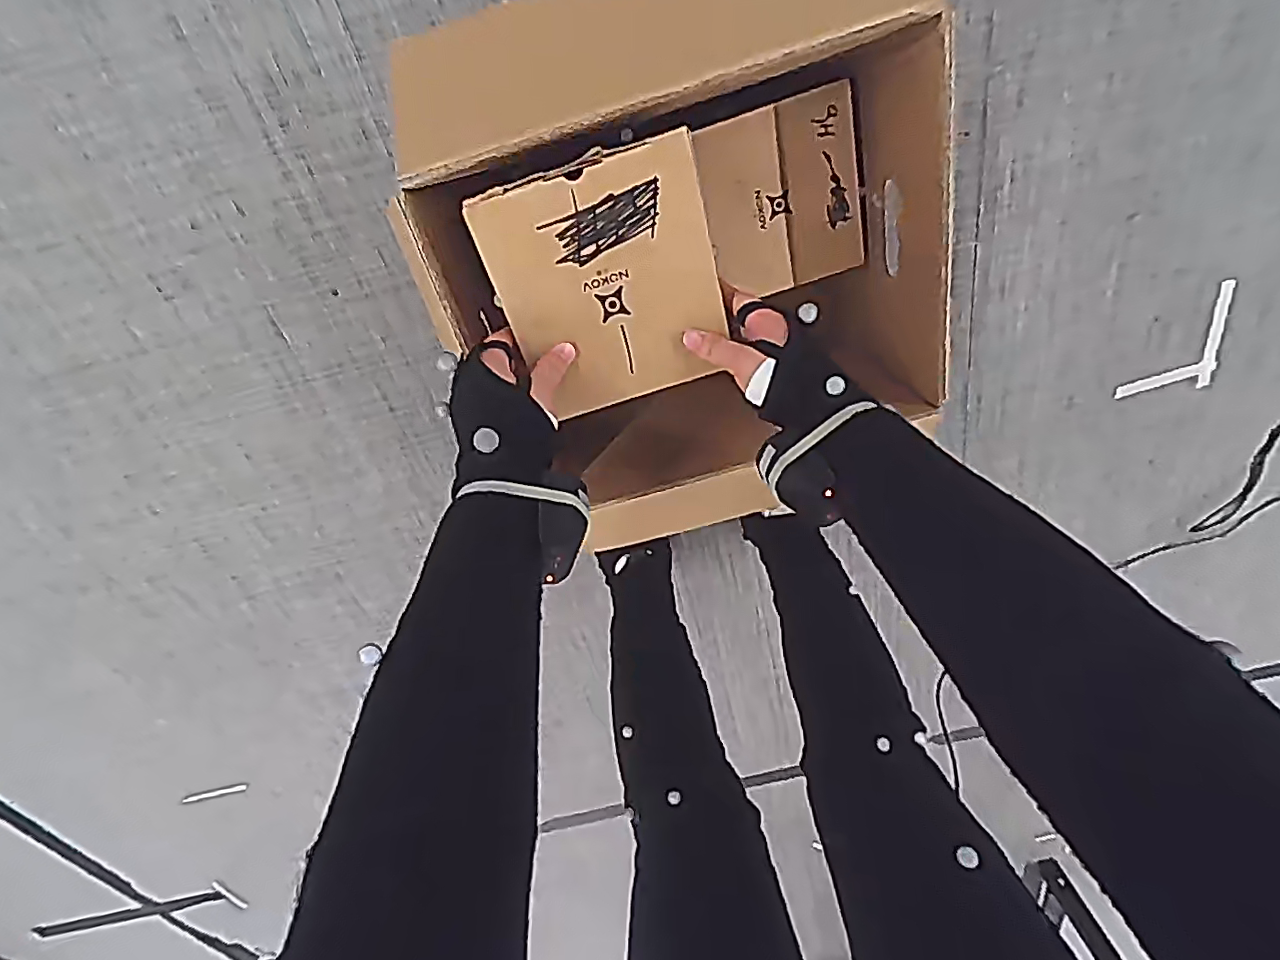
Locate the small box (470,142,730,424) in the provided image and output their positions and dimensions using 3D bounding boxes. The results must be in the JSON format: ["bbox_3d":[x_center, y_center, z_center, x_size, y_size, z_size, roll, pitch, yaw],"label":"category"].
[{"bbox_3d":[-0.031,-0.180,0.486,0.168,0.176,0.179,-16,122,4],"label":"small box"}]
